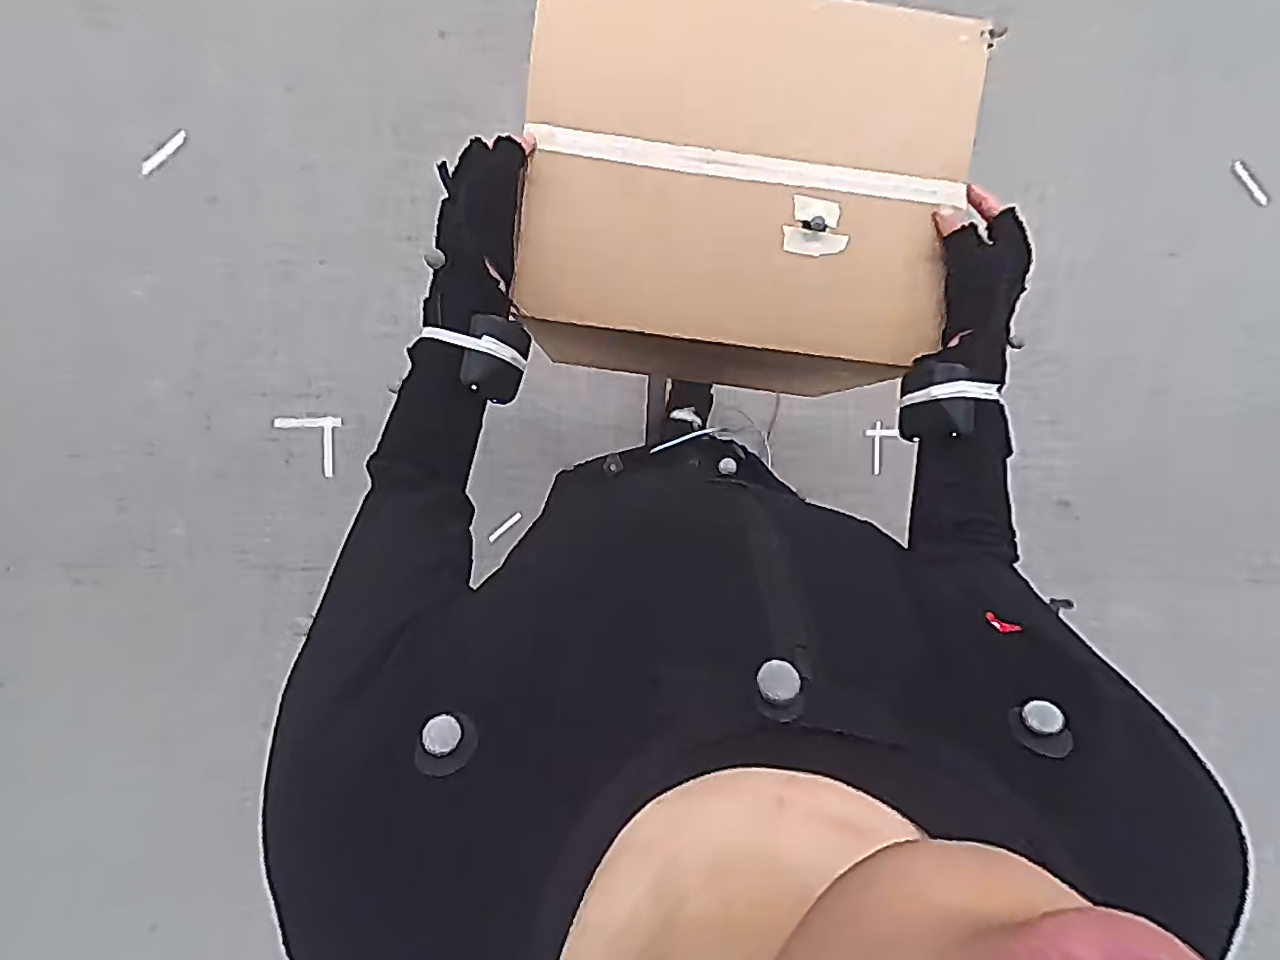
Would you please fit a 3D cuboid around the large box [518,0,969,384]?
[{"bbox_3d":[0.088,-0.305,0.653,0.408,0.320,0.320,7,95,-3],"label":"large box"}]
